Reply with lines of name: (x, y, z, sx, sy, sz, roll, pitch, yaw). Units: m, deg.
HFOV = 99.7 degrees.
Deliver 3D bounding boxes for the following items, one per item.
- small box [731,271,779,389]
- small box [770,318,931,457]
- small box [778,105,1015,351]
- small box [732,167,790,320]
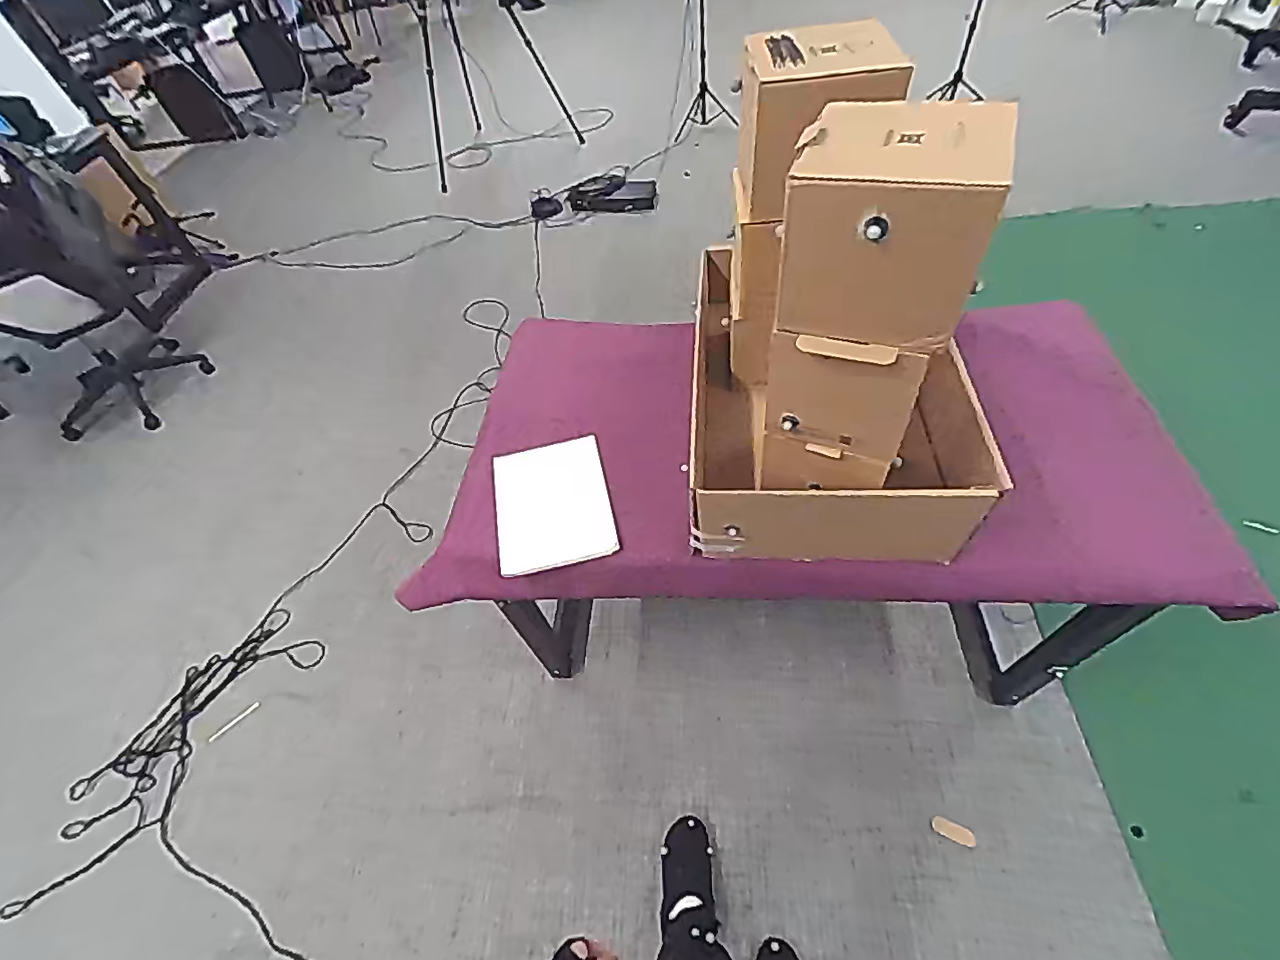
small box: (0.252, -0.278, 0.988, 0.168, 0.176, 0.179, 0, 54, 9)
small box: (0.267, -0.154, 0.677, 0.168, 0.176, 0.179, 17, 56, 22)
small box: (0.247, -0.252, 0.548, 0.179, 0.176, 0.168, 15, 56, 21)
small box: (0.237, -0.371, 0.856, 0.179, 0.176, 0.168, -2, 54, 7)
